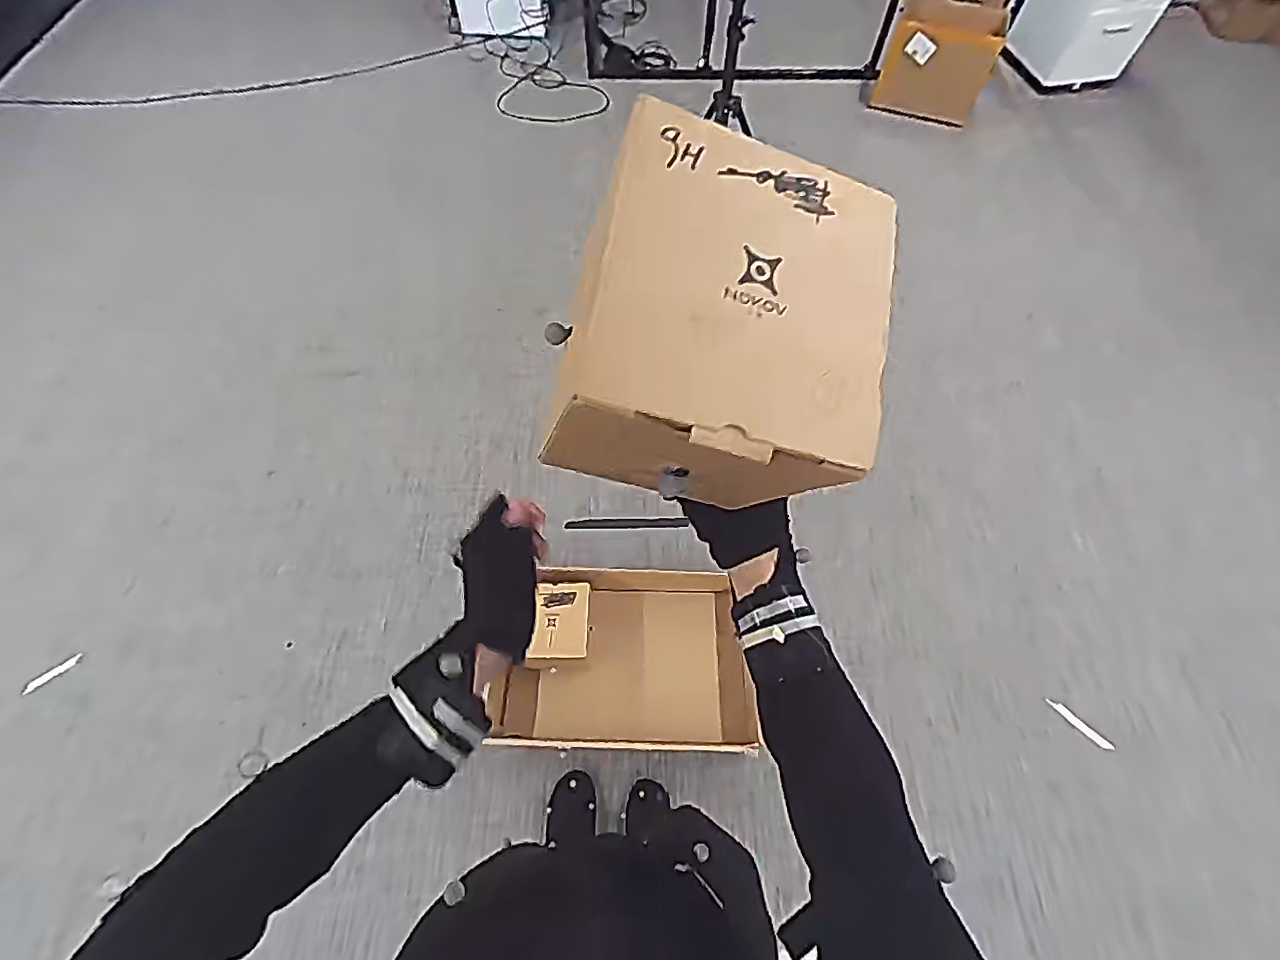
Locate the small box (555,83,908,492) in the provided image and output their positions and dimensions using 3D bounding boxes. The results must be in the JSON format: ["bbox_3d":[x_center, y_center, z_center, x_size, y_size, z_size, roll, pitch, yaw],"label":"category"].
[{"bbox_3d":[0.044,-0.097,0.363,0.168,0.176,0.179,14,78,-14],"label":"small box"}]
